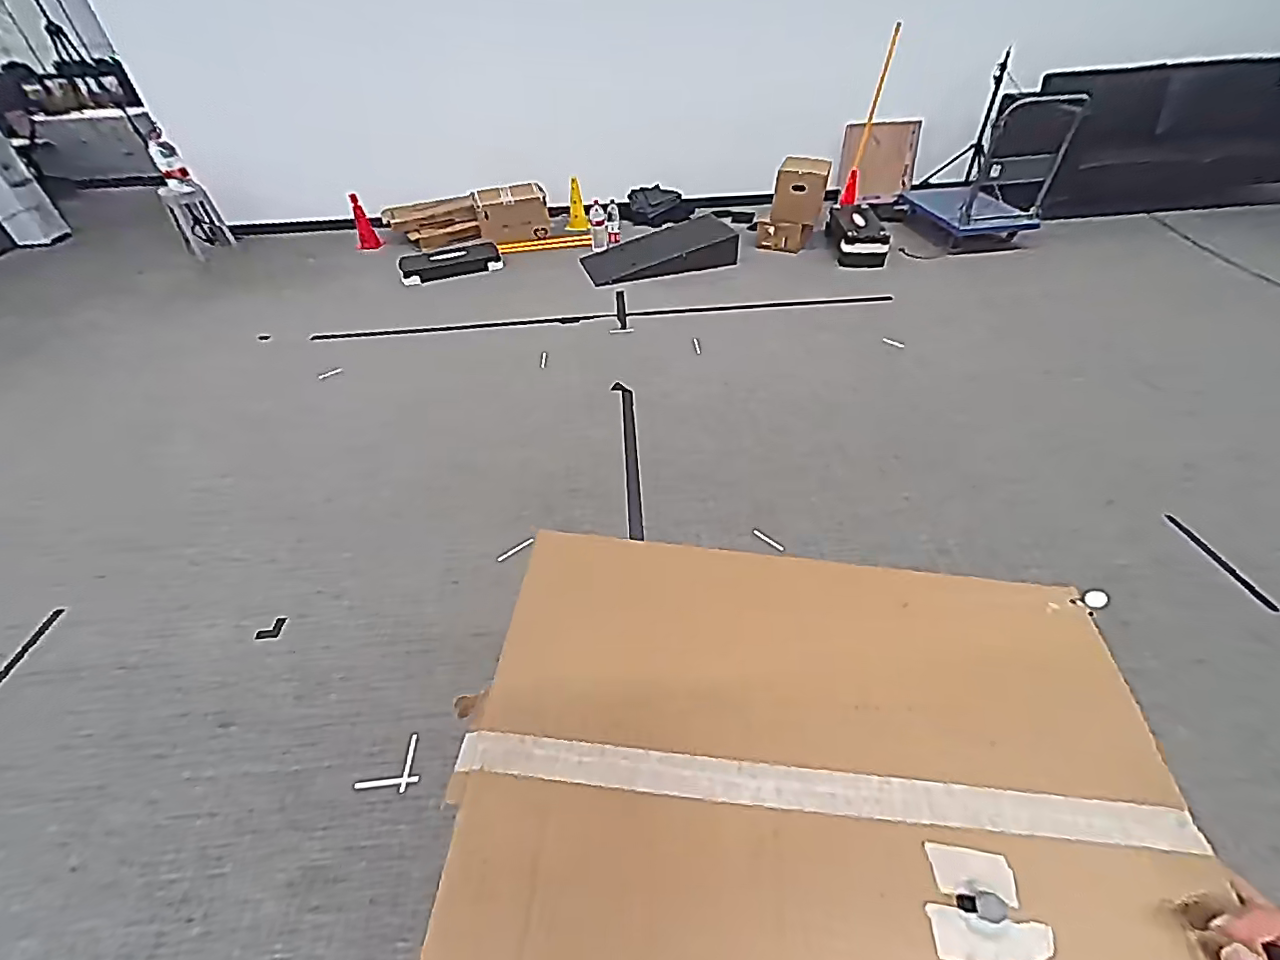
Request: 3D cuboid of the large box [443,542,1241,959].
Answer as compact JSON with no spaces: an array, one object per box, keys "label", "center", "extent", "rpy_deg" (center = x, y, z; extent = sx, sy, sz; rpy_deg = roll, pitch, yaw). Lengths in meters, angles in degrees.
[{"label":"large box","center":[0.099,0.278,0.423],"extent":[0.408,0.320,0.320],"rpy_deg":[7,49,1]}]
